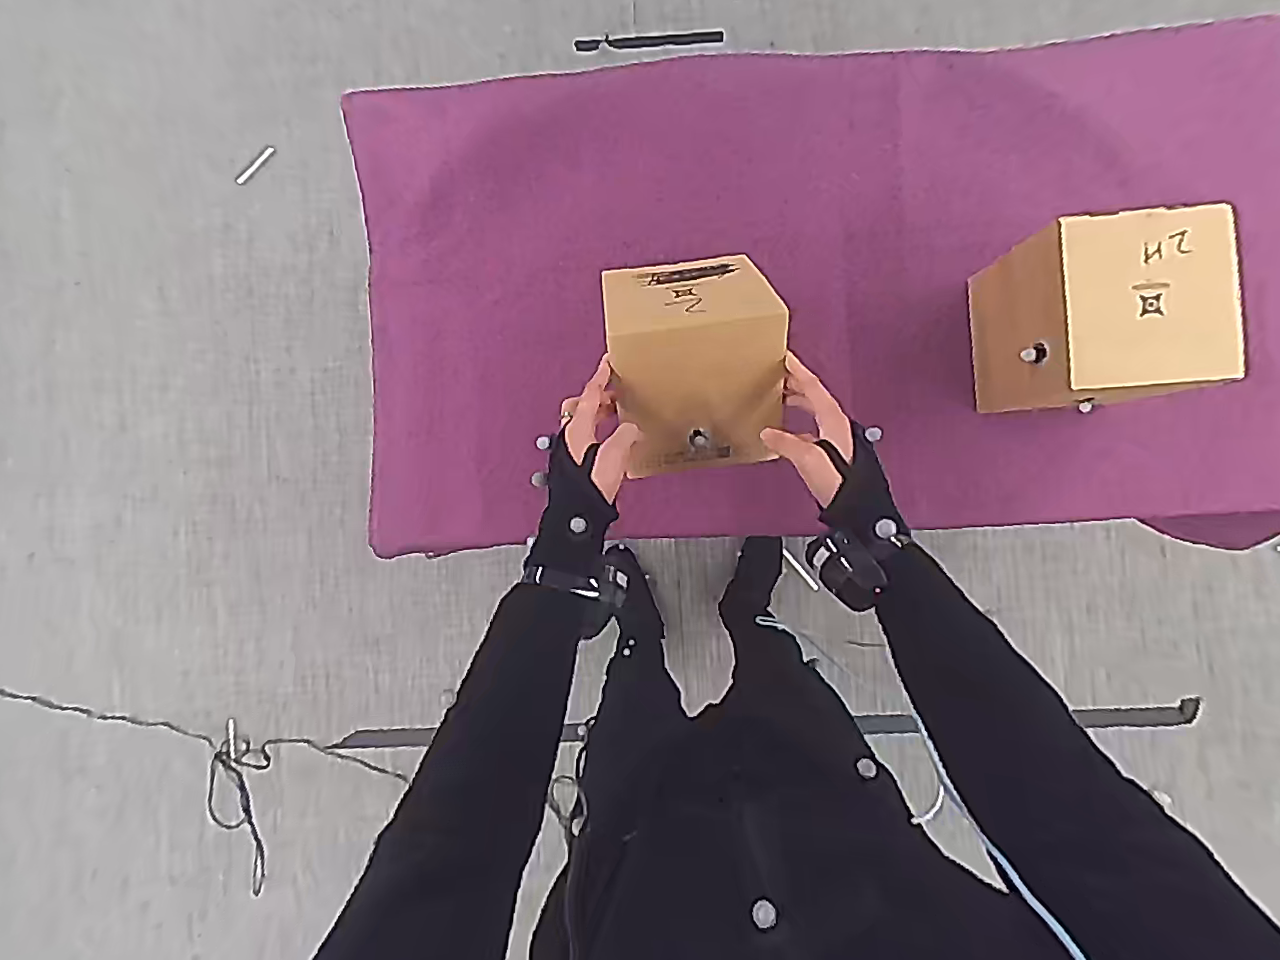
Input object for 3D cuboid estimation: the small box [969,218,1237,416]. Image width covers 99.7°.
[{"bbox_3d":[0.506,-0.168,0.617,0.168,0.176,0.179,-3,89,3],"label":"small box"}]
